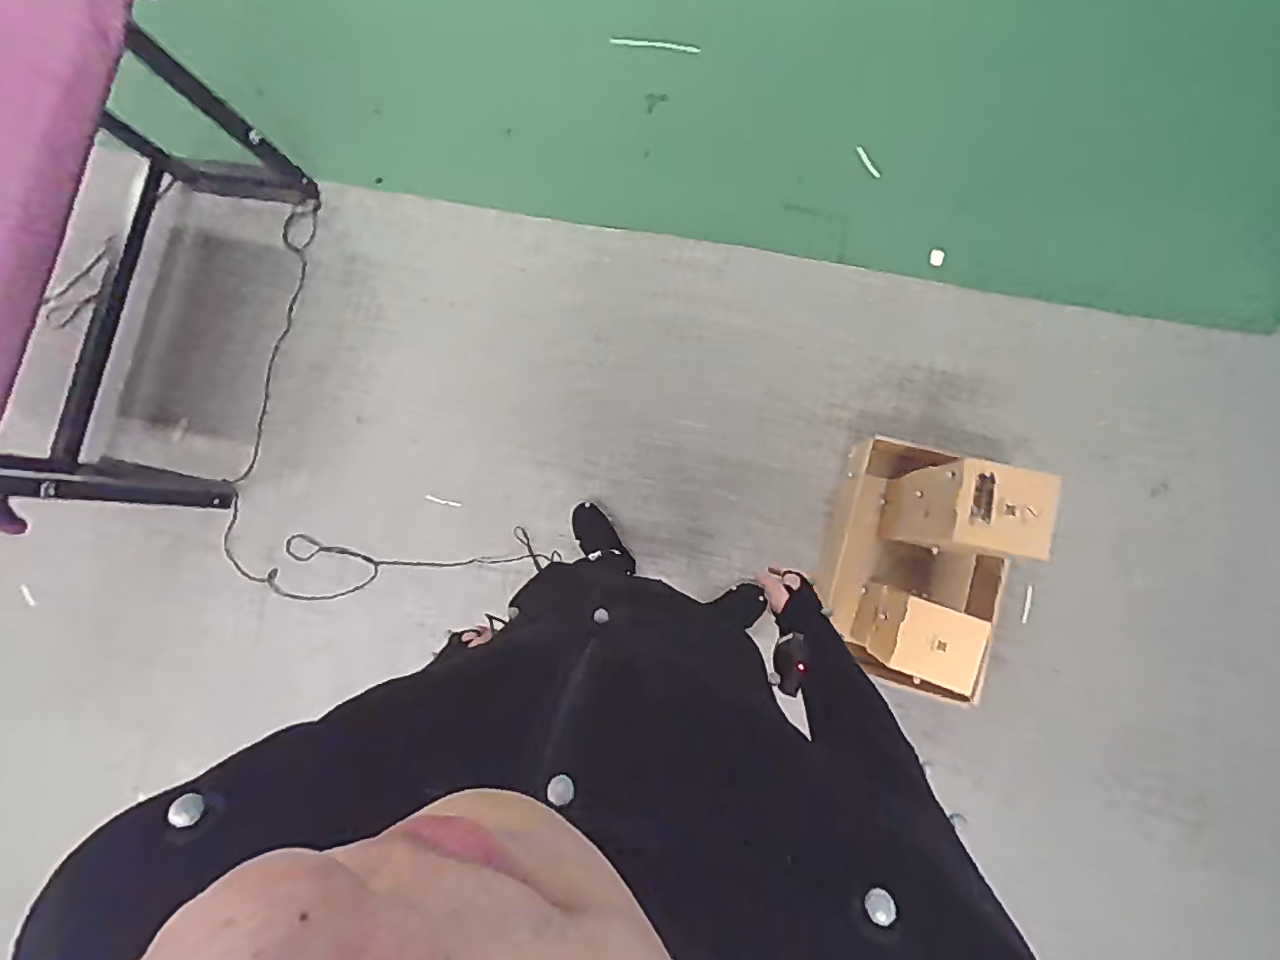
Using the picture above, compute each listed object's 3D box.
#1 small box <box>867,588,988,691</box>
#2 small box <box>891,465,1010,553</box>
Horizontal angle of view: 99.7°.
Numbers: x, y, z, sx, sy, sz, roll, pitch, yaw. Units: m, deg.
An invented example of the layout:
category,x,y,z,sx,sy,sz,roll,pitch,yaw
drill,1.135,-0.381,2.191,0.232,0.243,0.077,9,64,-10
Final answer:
category,x,y,z,sx,sy,sz,roll,pitch,yaw
small box,0.661,0.361,1.263,0.179,0.176,0.168,19,88,9
small box,0.727,0.070,1.281,0.179,0.176,0.168,12,85,7
